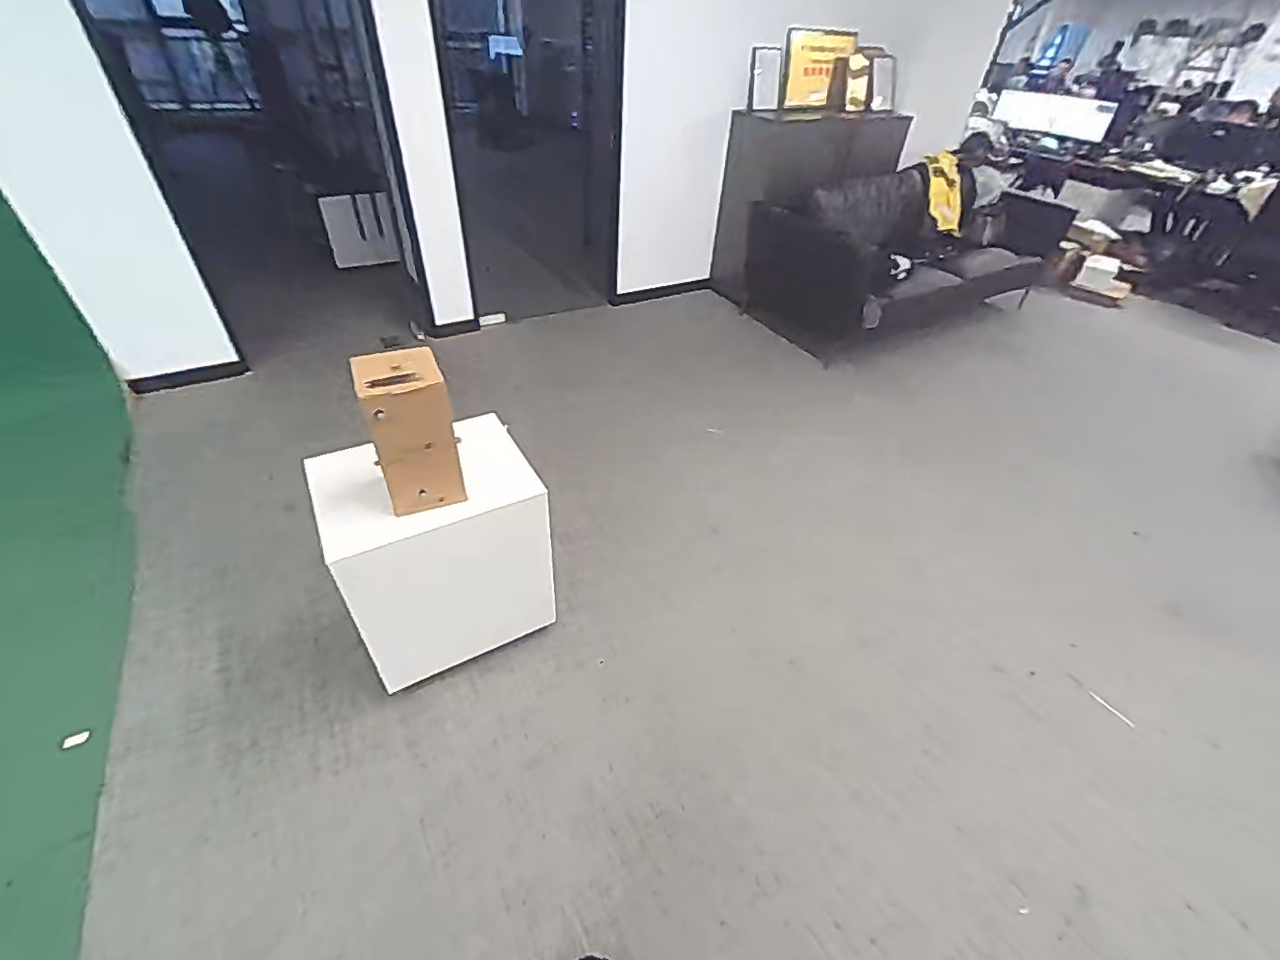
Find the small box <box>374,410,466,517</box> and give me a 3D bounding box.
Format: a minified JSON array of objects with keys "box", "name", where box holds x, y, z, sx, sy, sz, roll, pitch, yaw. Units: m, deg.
[{"box":[-0.522,-0.041,1.289,0.168,0.176,0.179,-15,44,-21],"name":"small box"}]
